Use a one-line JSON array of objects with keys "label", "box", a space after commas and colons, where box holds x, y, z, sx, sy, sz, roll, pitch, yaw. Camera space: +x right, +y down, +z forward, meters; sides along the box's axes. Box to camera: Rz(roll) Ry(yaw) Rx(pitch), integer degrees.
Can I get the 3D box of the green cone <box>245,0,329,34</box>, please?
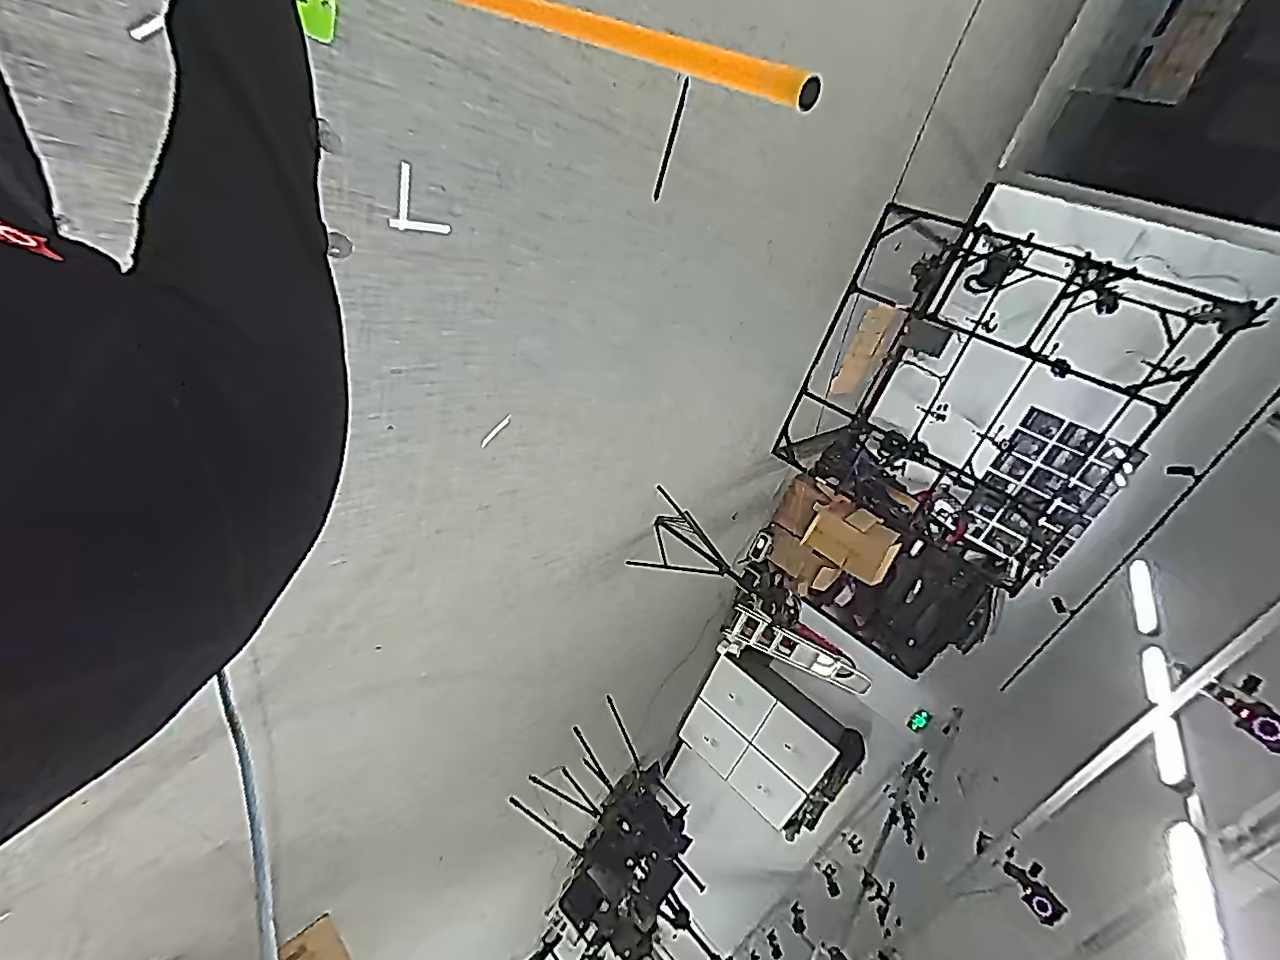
[{"label": "green cone", "box": [-0.553, -0.899, 0.928, 0.202, 0.368, 0.200, -15, 133, -53]}]
